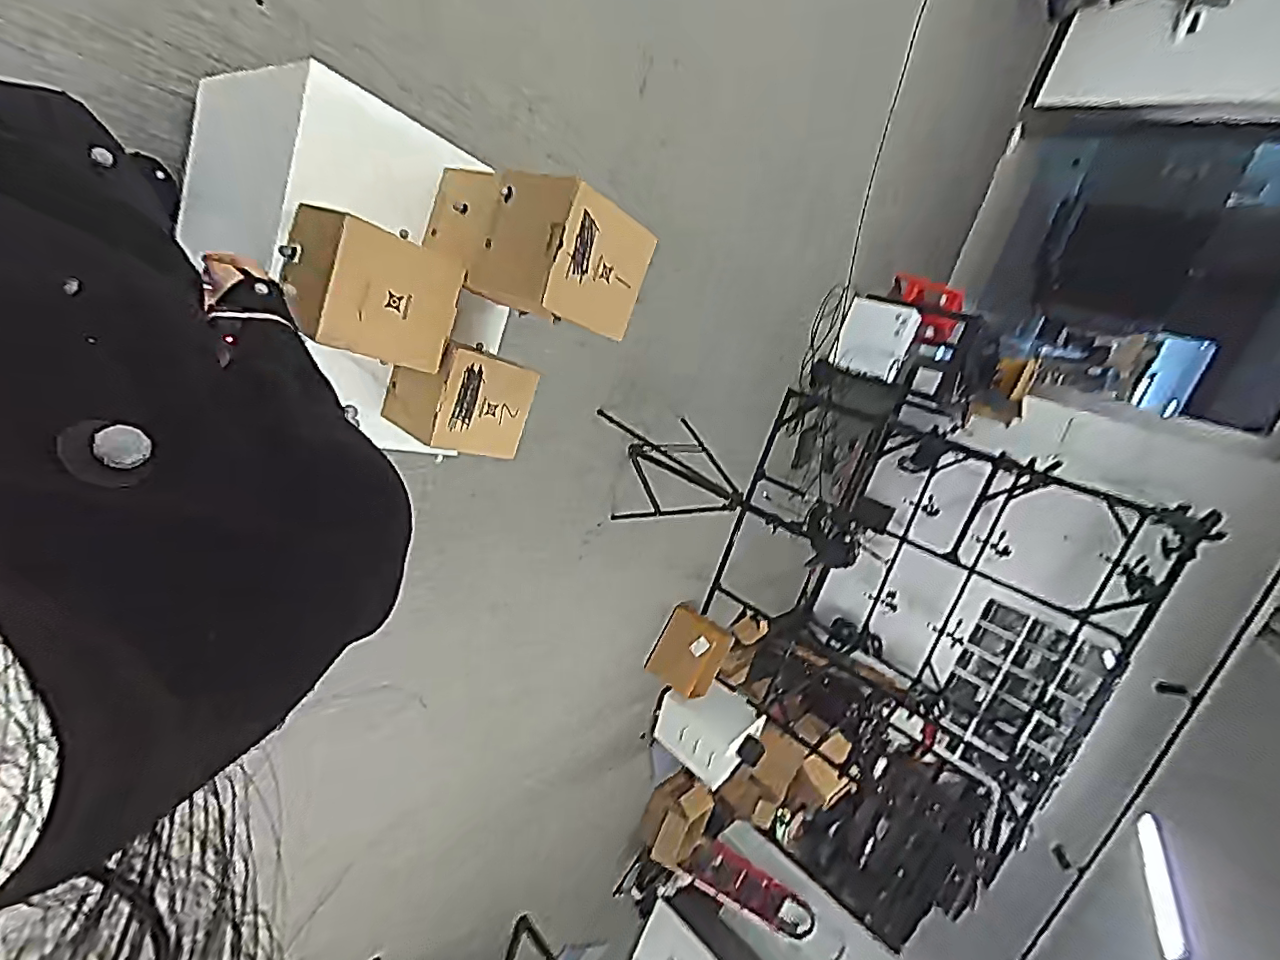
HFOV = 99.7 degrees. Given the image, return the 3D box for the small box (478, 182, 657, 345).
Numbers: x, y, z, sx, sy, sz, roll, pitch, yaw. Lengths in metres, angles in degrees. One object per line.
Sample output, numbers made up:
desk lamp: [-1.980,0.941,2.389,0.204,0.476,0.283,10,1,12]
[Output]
small box: [-0.110,-0.320,0.803,0.179,0.176,0.168,7,107,-54]

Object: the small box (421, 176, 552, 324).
small box: [-0.232,-0.379,0.897,0.179,0.176,0.168,9,105,-54]
